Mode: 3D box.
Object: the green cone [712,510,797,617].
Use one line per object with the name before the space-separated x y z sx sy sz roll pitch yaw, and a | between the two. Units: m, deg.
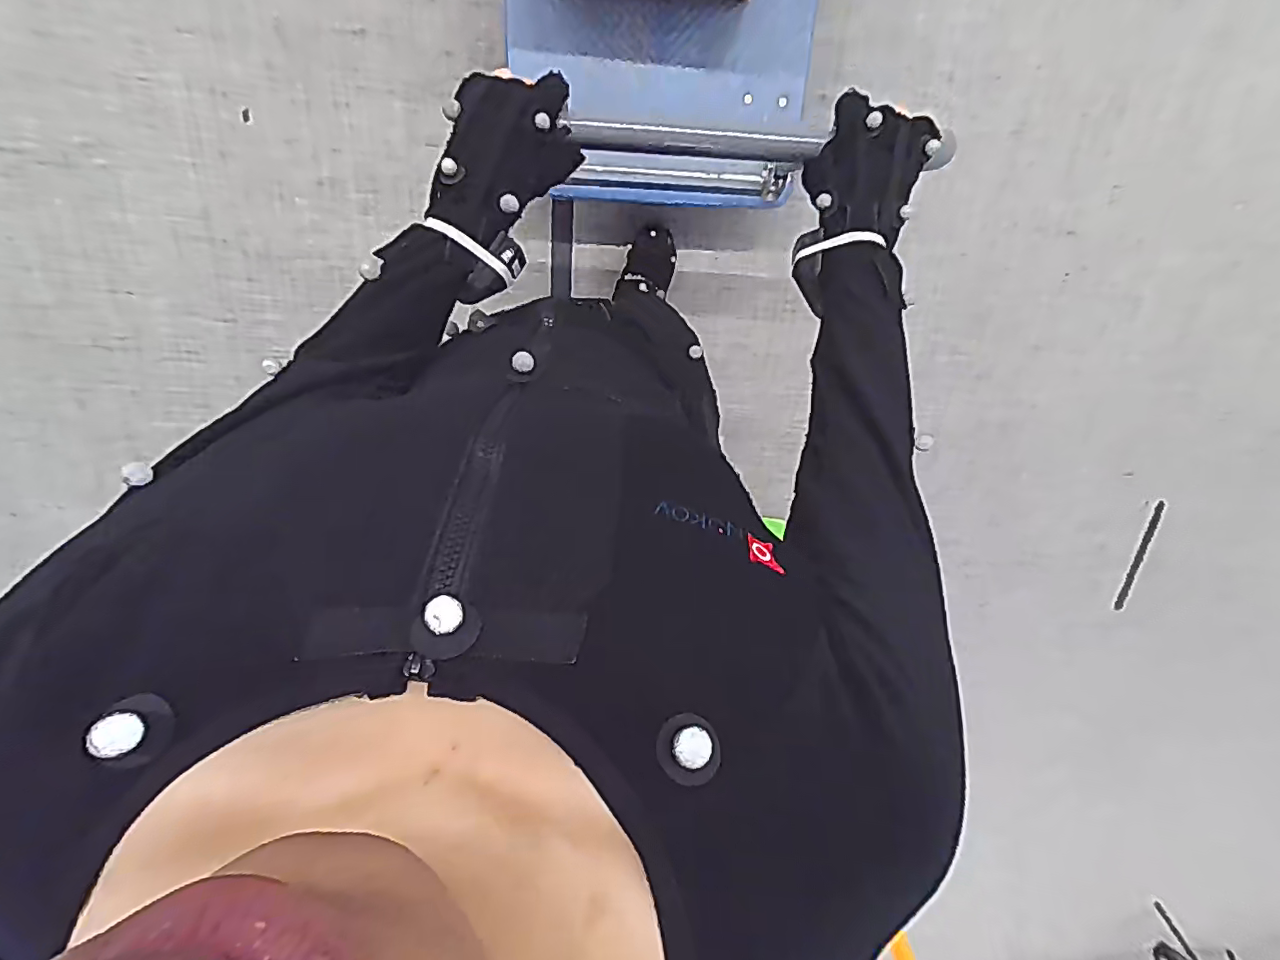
green cone | 0.338 0.248 1.455 0.202 0.368 0.200 6 111 -7
